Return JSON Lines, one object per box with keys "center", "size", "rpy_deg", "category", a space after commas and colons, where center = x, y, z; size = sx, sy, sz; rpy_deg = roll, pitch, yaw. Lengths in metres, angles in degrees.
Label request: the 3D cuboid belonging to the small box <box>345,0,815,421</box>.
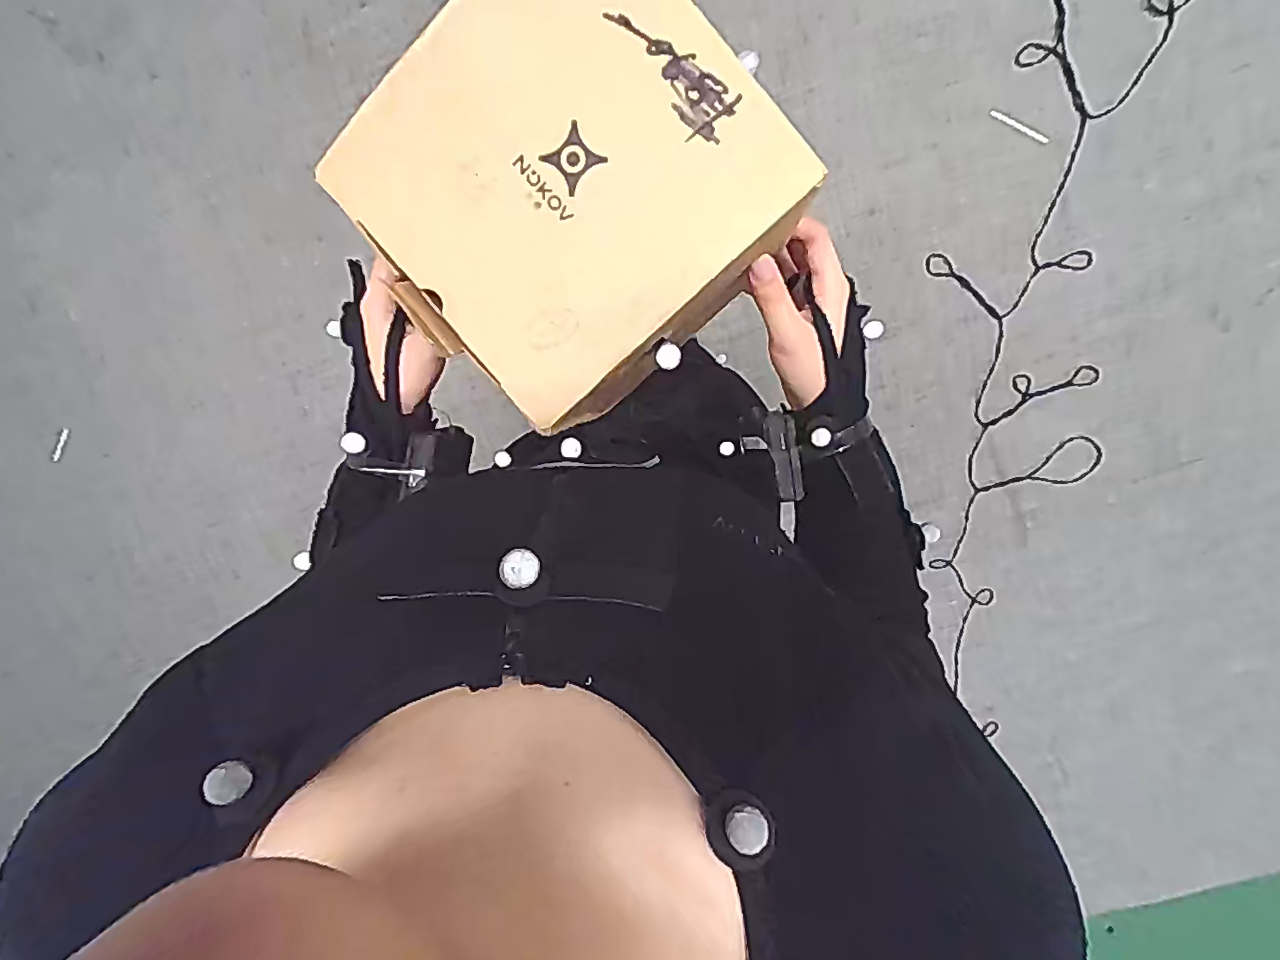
{"center": [-0.024, -0.156, 0.336], "size": [0.179, 0.176, 0.168], "rpy_deg": [-41, 93, 11], "category": "small box"}
